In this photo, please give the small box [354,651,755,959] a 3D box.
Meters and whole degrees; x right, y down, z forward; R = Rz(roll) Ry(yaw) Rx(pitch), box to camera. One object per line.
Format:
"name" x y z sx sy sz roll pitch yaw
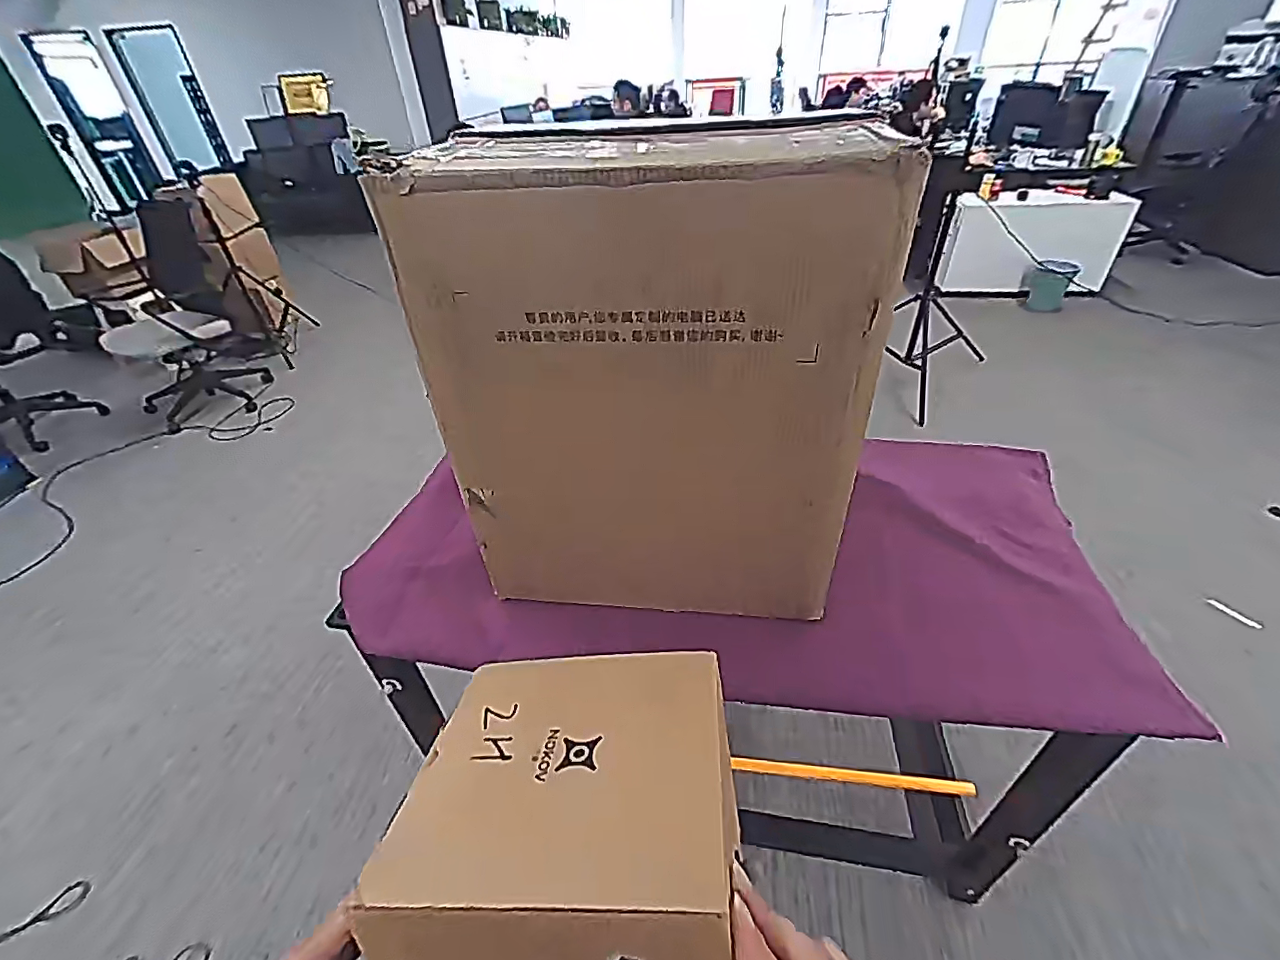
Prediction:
"small box" -0.024 0.228 0.329 0.179 0.176 0.168 -6 18 9
